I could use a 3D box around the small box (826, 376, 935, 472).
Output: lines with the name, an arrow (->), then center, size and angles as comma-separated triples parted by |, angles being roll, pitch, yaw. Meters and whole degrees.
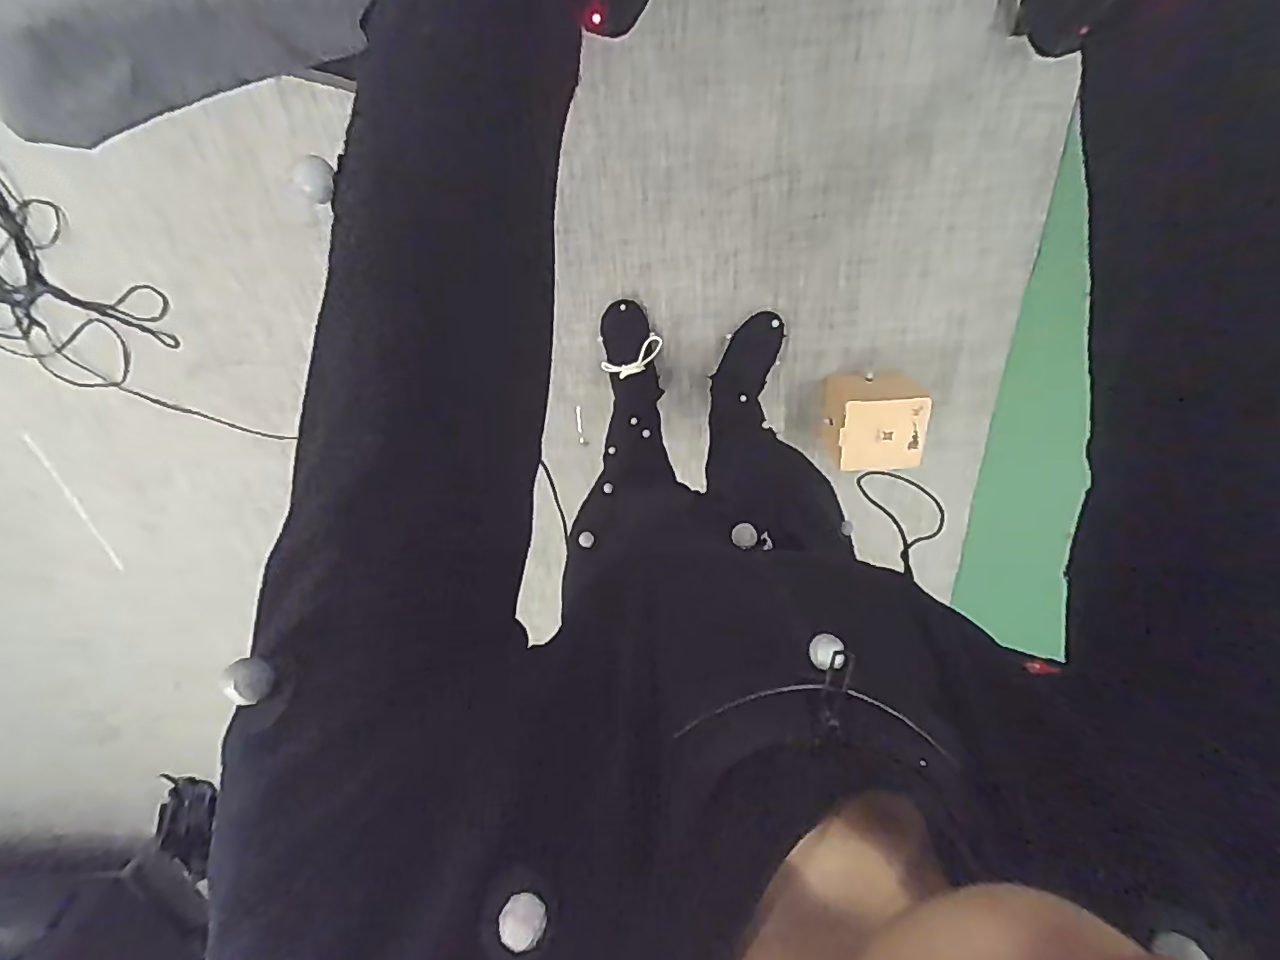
small box -> 0.526, -0.129, 1.211 | 0.179, 0.176, 0.168 | -2, 118, 6
